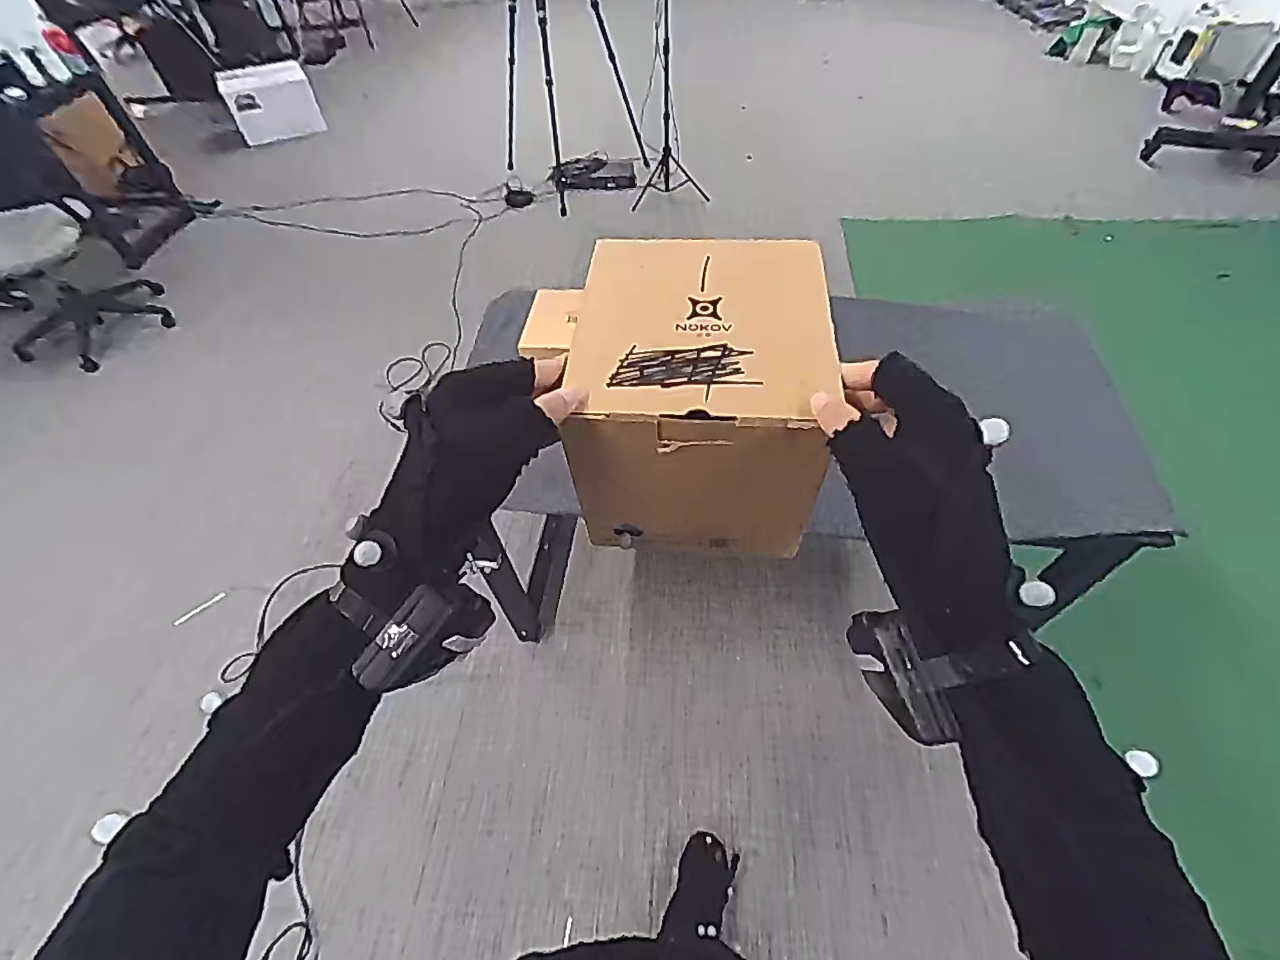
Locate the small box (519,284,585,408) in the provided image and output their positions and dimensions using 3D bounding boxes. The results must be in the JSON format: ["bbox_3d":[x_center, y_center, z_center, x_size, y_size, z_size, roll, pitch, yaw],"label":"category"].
[{"bbox_3d":[-0.110,-0.243,1.008,0.168,0.176,0.179,2,51,5],"label":"small box"}]

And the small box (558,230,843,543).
[{"bbox_3d":[0.046,-0.065,0.416,0.168,0.176,0.179,3,56,6],"label":"small box"}]
